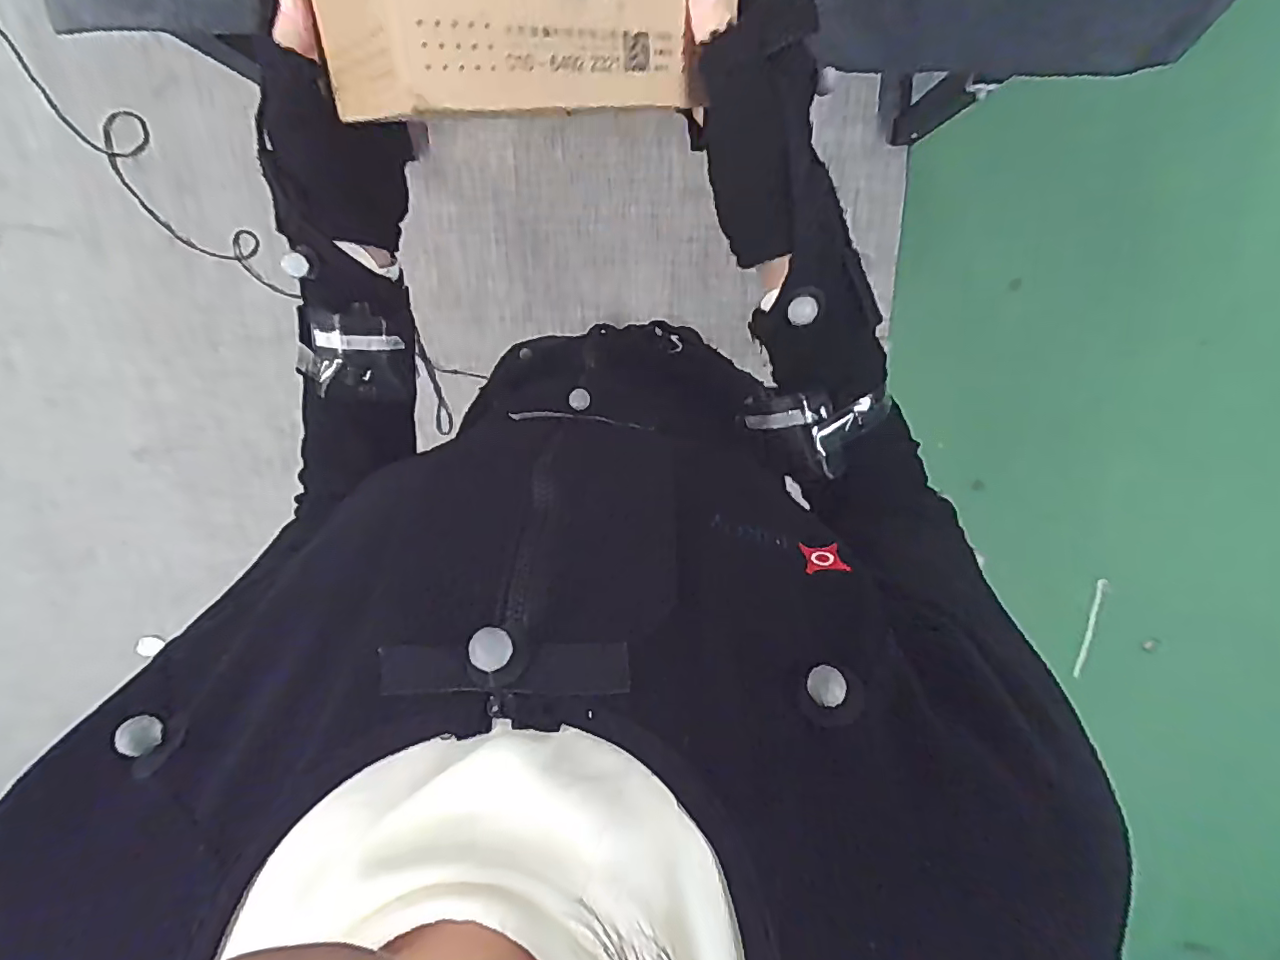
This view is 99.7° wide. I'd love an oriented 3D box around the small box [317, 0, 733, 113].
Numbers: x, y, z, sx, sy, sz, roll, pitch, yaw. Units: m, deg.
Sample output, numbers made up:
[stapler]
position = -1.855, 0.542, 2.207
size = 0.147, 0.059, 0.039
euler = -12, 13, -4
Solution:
[small box]
position = -0.068, -0.284, 0.264
size = 0.168, 0.179, 0.176
euler = -24, 129, -28
